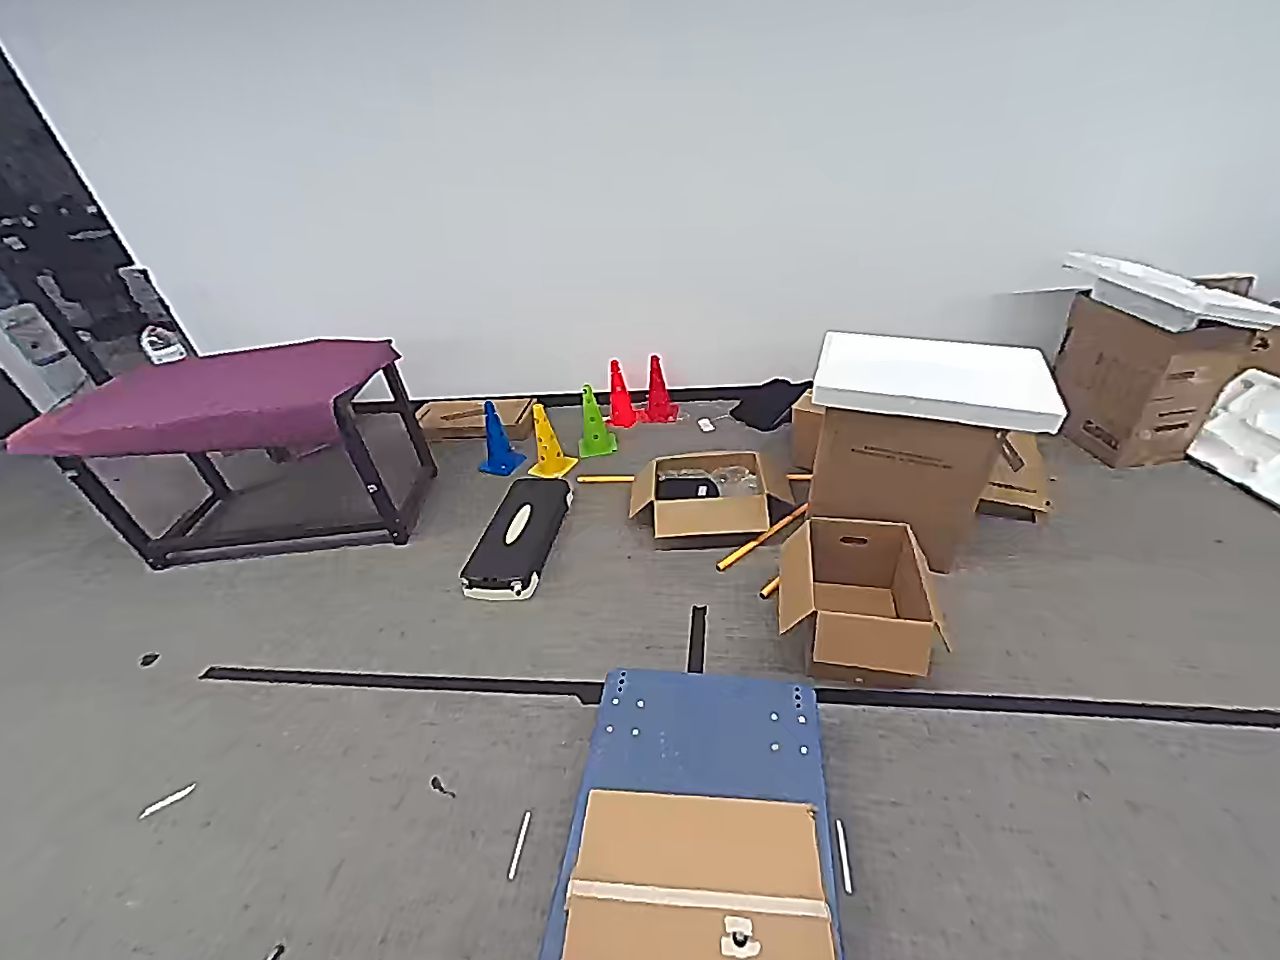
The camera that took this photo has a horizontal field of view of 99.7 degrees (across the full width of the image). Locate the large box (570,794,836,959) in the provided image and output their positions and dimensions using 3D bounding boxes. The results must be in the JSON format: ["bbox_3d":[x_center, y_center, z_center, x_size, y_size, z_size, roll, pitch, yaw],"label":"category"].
[{"bbox_3d":[0.107,0.795,0.953,0.408,0.320,0.320,-1,36,7],"label":"large box"}]
